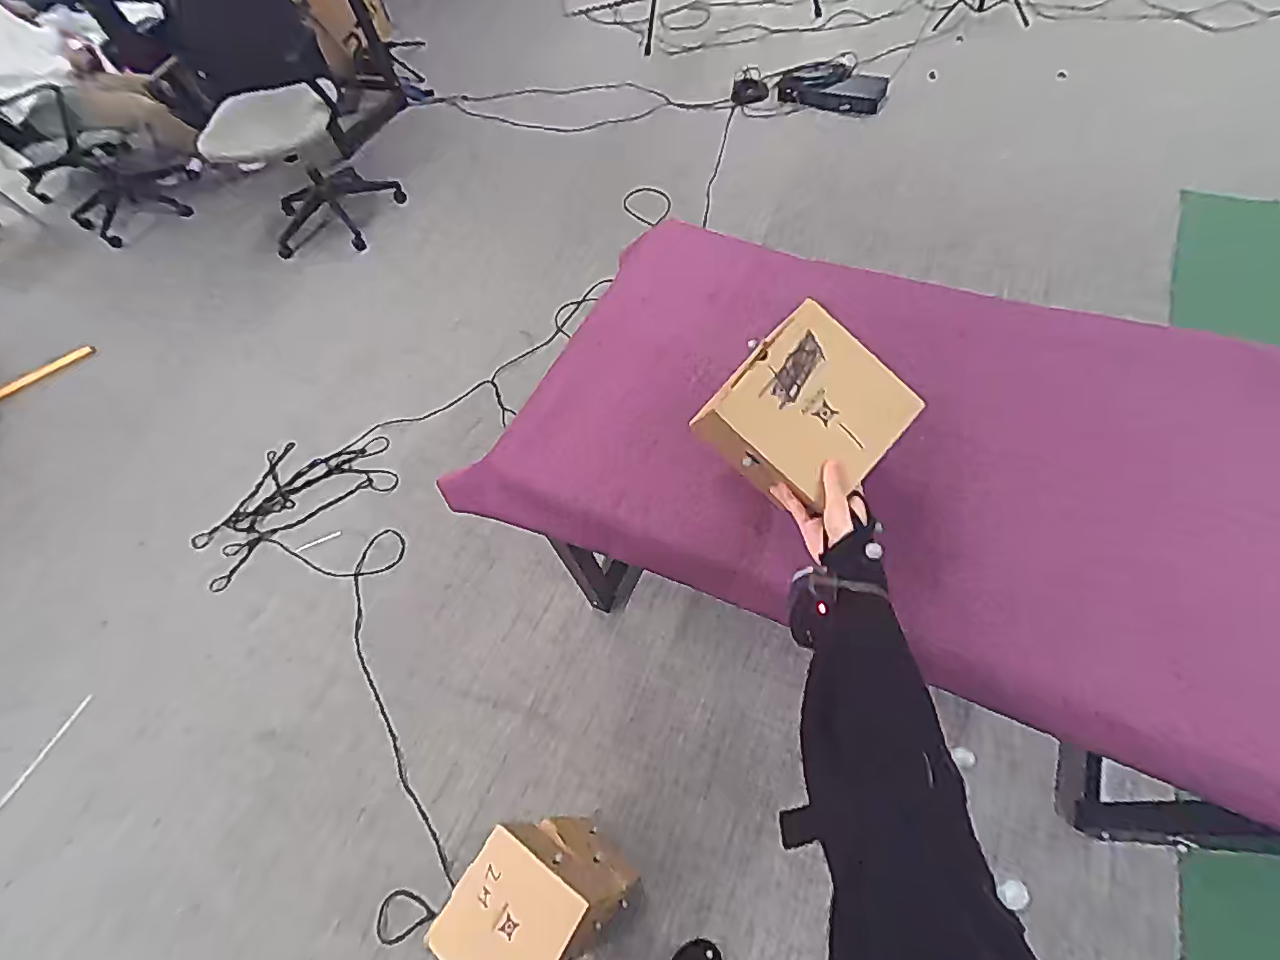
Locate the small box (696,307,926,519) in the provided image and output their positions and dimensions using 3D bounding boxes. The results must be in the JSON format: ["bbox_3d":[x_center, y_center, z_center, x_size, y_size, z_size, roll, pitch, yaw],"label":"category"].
[{"bbox_3d":[0.191,-0.073,0.661,0.179,0.176,0.168,43,88,-6],"label":"small box"}]

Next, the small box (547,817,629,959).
[{"bbox_3d":[-0.137,0.812,1.085,0.168,0.176,0.179,34,70,26],"label":"small box"}]

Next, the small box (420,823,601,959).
[{"bbox_3d":[-0.179,0.645,0.807,0.179,0.176,0.168,27,65,23],"label":"small box"}]
